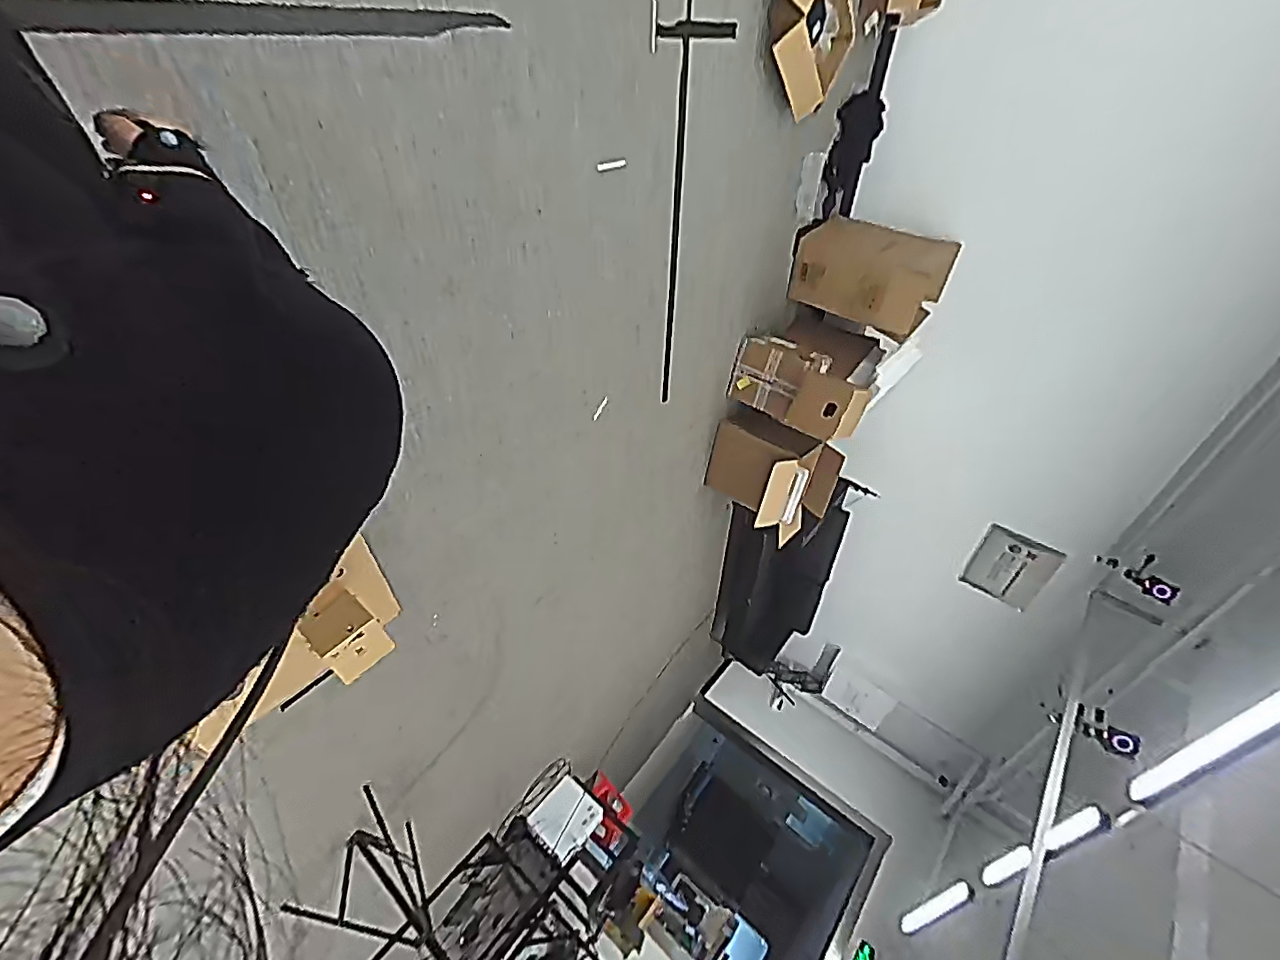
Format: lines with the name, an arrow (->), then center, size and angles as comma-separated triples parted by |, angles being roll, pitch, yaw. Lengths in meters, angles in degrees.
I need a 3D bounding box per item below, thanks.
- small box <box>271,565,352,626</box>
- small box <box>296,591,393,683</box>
small box -> -1.014, 0.393, 1.704 | 0.168, 0.176, 0.179 | -41, 146, -33
small box -> -0.888, 0.467, 1.629 | 0.168, 0.176, 0.179 | -42, 147, -32
